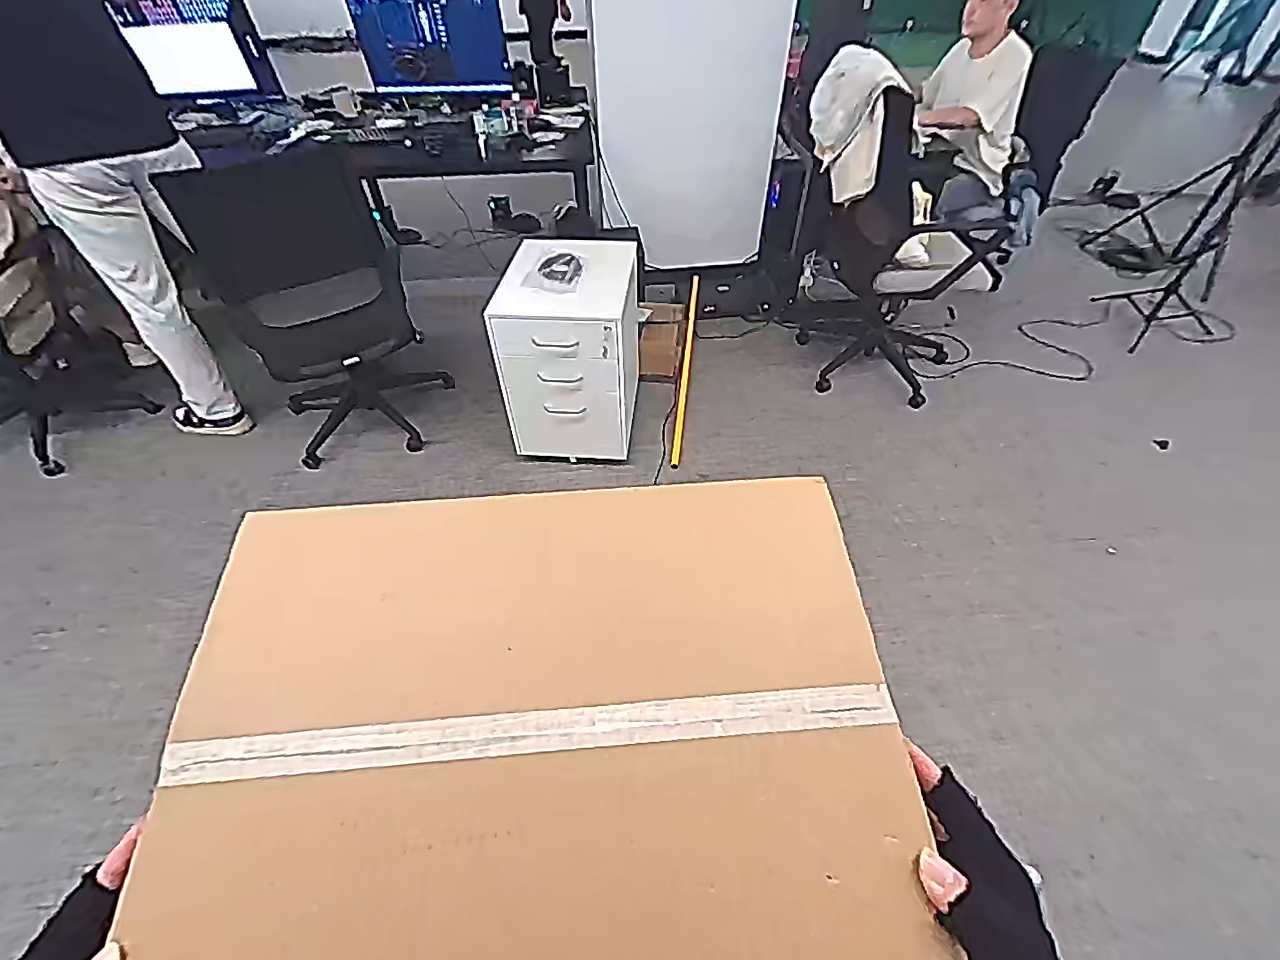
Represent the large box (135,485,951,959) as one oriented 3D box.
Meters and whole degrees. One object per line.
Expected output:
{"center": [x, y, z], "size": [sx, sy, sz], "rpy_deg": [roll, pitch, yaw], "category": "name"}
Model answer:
{"center": [-0.057, 0.226, 0.444], "size": [0.408, 0.320, 0.320], "rpy_deg": [-4, 60, -2], "category": "large box"}
